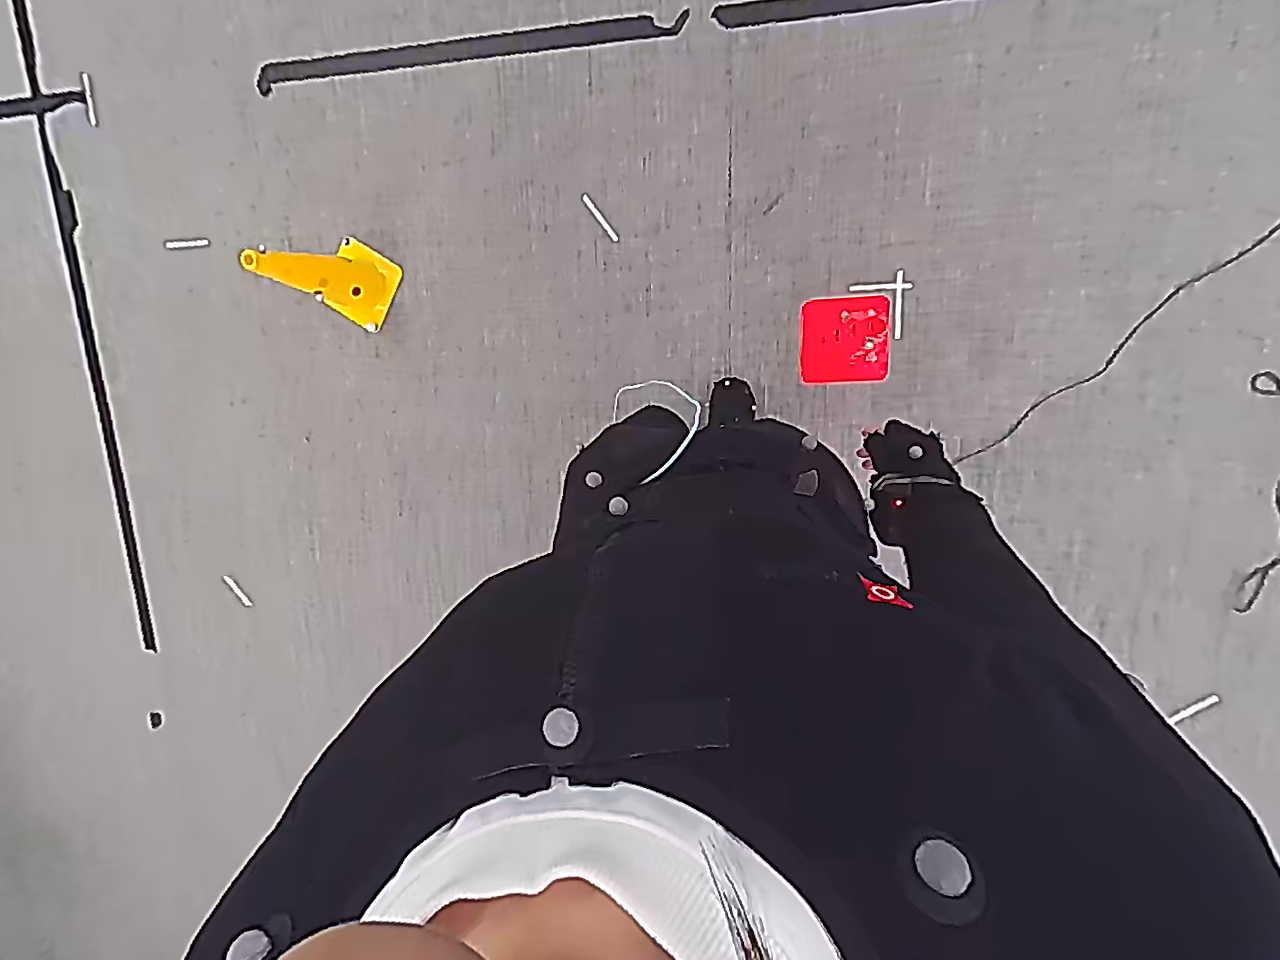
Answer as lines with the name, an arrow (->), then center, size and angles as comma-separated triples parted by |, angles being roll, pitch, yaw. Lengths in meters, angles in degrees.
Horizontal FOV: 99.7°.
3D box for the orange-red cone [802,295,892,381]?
orange-red cone -> 0.452, -0.308, 1.119 | 0.199, 0.360, 0.198 | 1, 100, 13
